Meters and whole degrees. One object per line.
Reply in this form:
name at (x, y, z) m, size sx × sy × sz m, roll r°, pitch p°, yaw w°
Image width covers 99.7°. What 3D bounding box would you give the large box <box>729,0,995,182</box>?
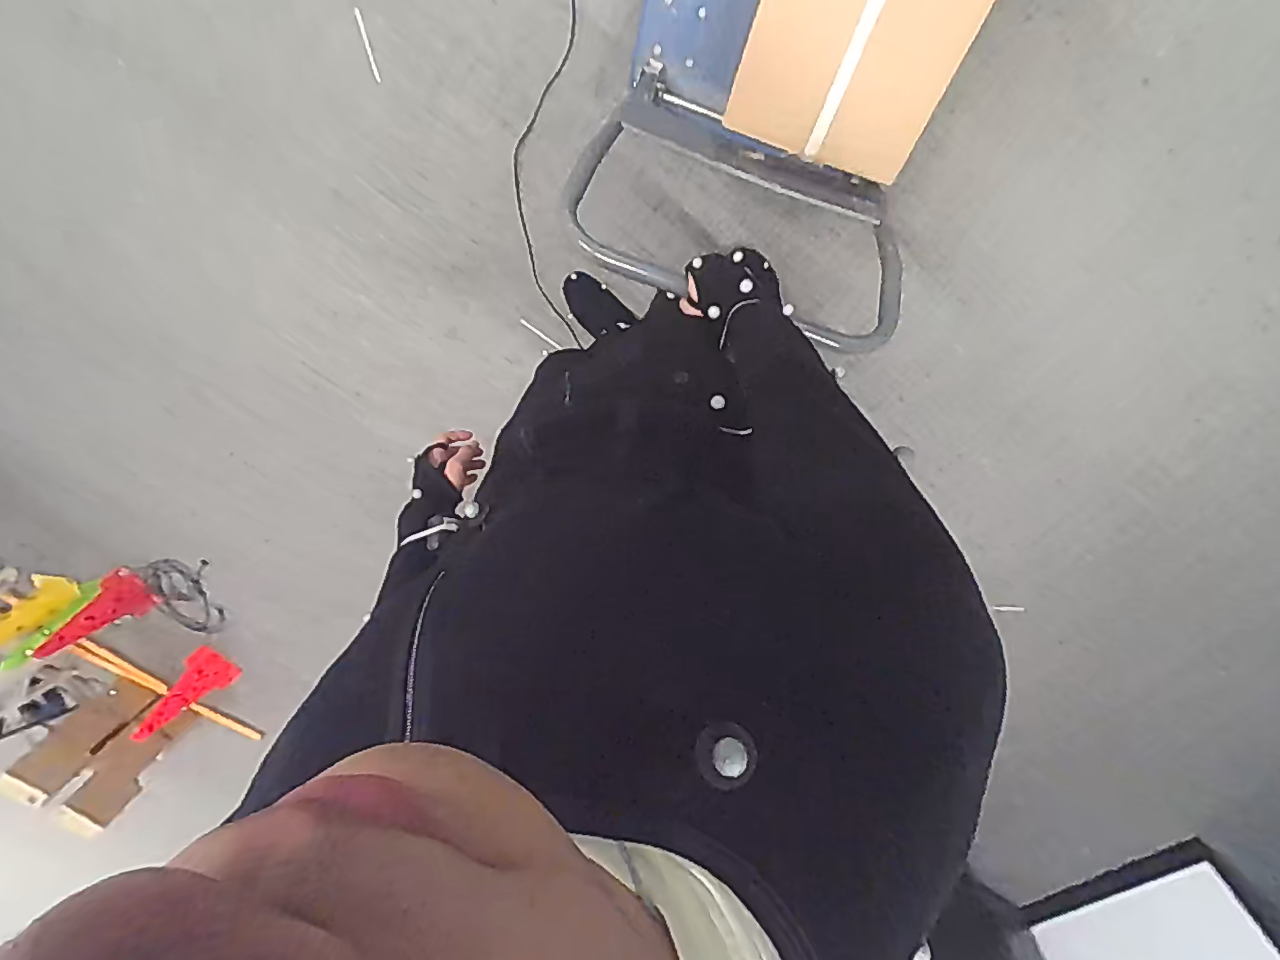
large box at (0.369, -0.786, 0.891) m, size 0.320 × 0.320 × 0.408 m, roll 18°, pitch 135°, yaw -3°
